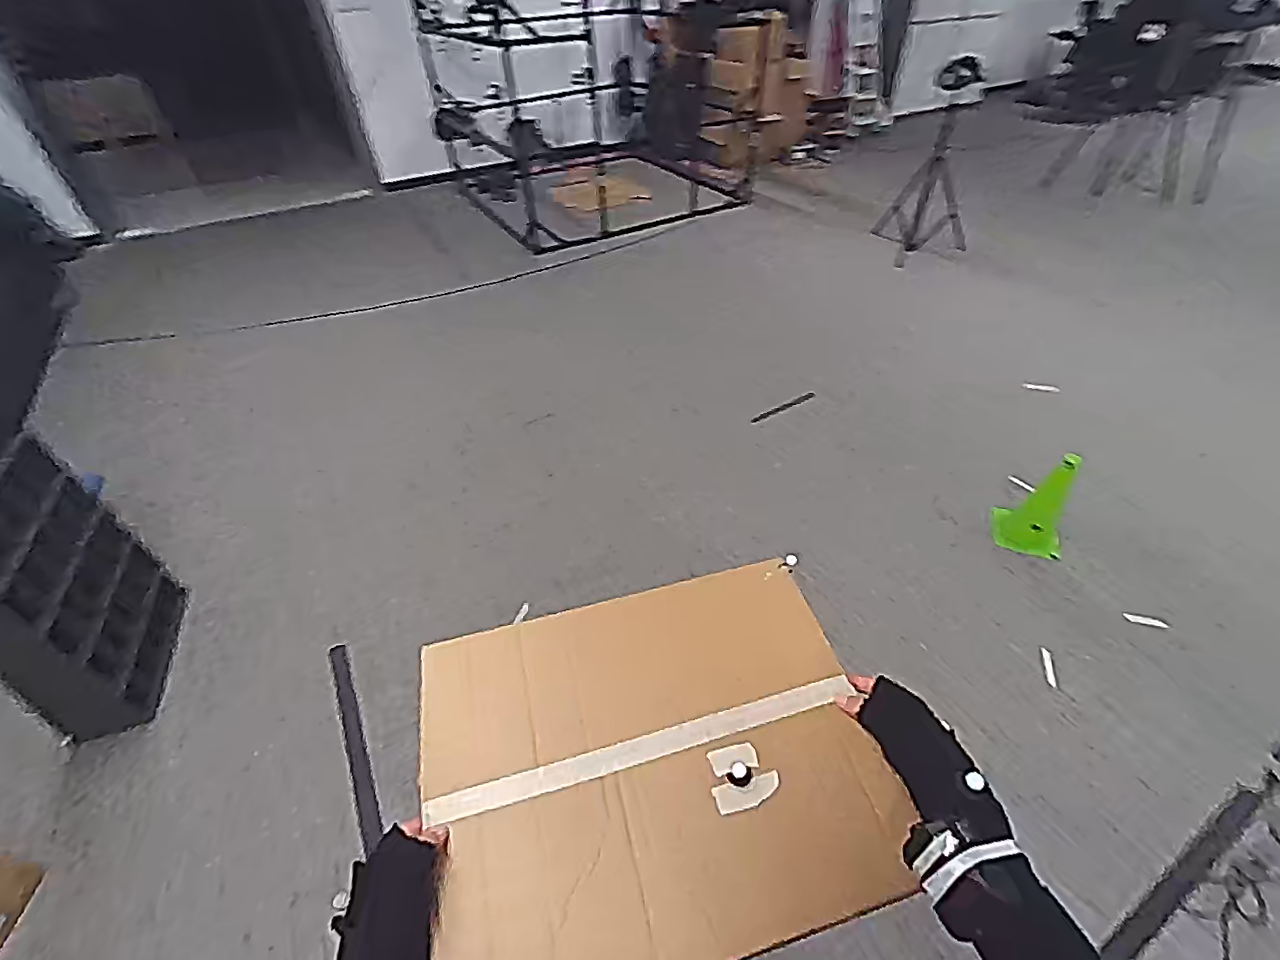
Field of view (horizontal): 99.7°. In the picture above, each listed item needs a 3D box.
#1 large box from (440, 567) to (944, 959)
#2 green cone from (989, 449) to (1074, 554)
[{"bbox_3d":[0.020,0.349,0.608,0.408,0.320,0.320,-11,49,-9],"label":"large box"},{"bbox_3d":[1.353,0.046,1.811,0.202,0.368,0.200,12,45,18],"label":"green cone"}]
